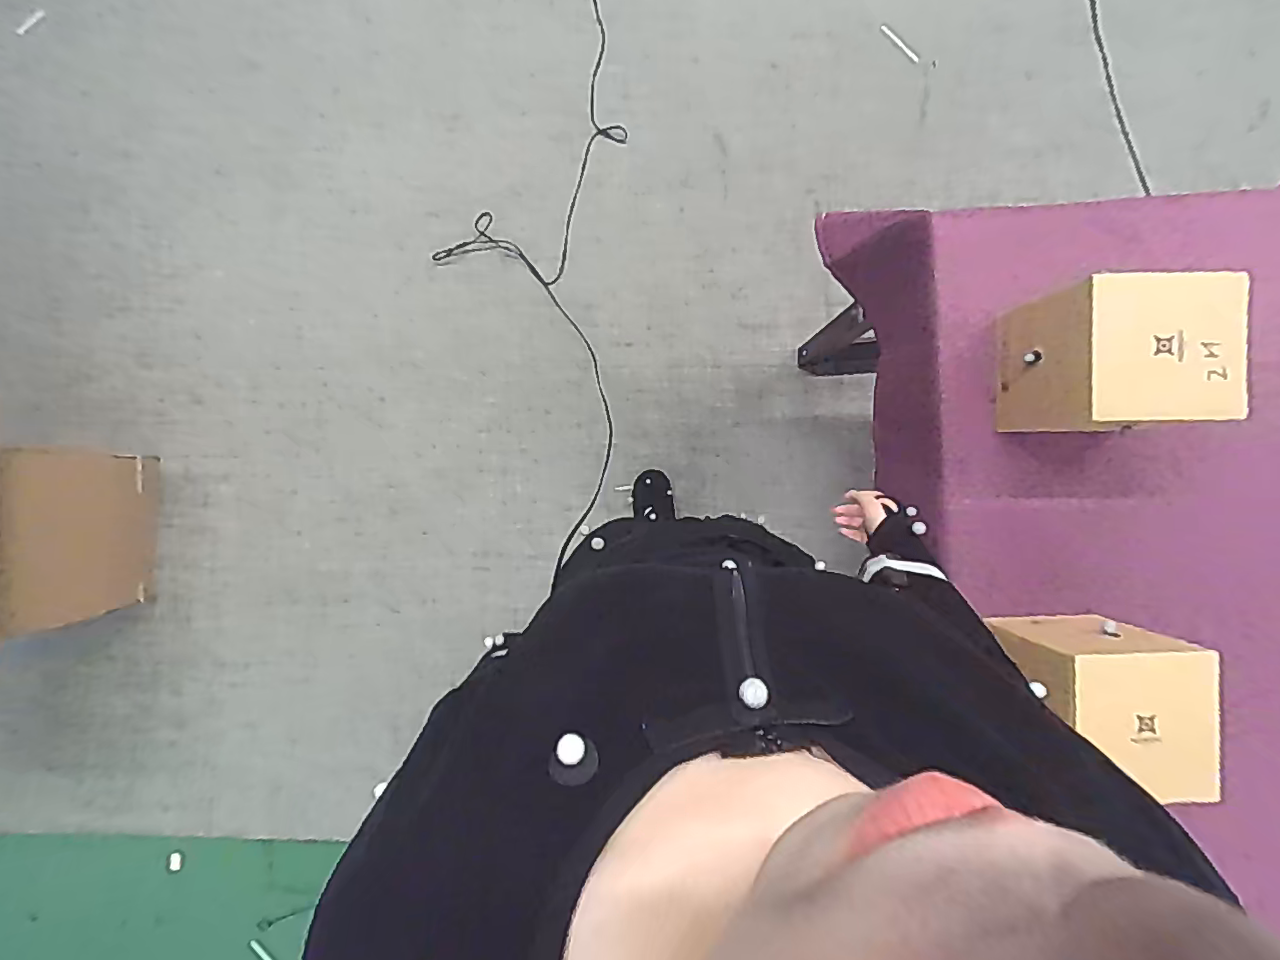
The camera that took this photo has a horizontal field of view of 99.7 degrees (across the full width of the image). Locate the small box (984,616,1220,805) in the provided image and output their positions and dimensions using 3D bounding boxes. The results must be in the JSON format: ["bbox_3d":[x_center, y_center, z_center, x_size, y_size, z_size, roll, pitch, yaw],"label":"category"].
[{"bbox_3d":[0.569,0.277,0.689,0.168,0.176,0.179,-2,92,0],"label":"small box"}]

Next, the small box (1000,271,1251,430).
[{"bbox_3d":[0.586,-0.150,0.677,0.179,0.176,0.168,0,92,0],"label":"small box"}]
